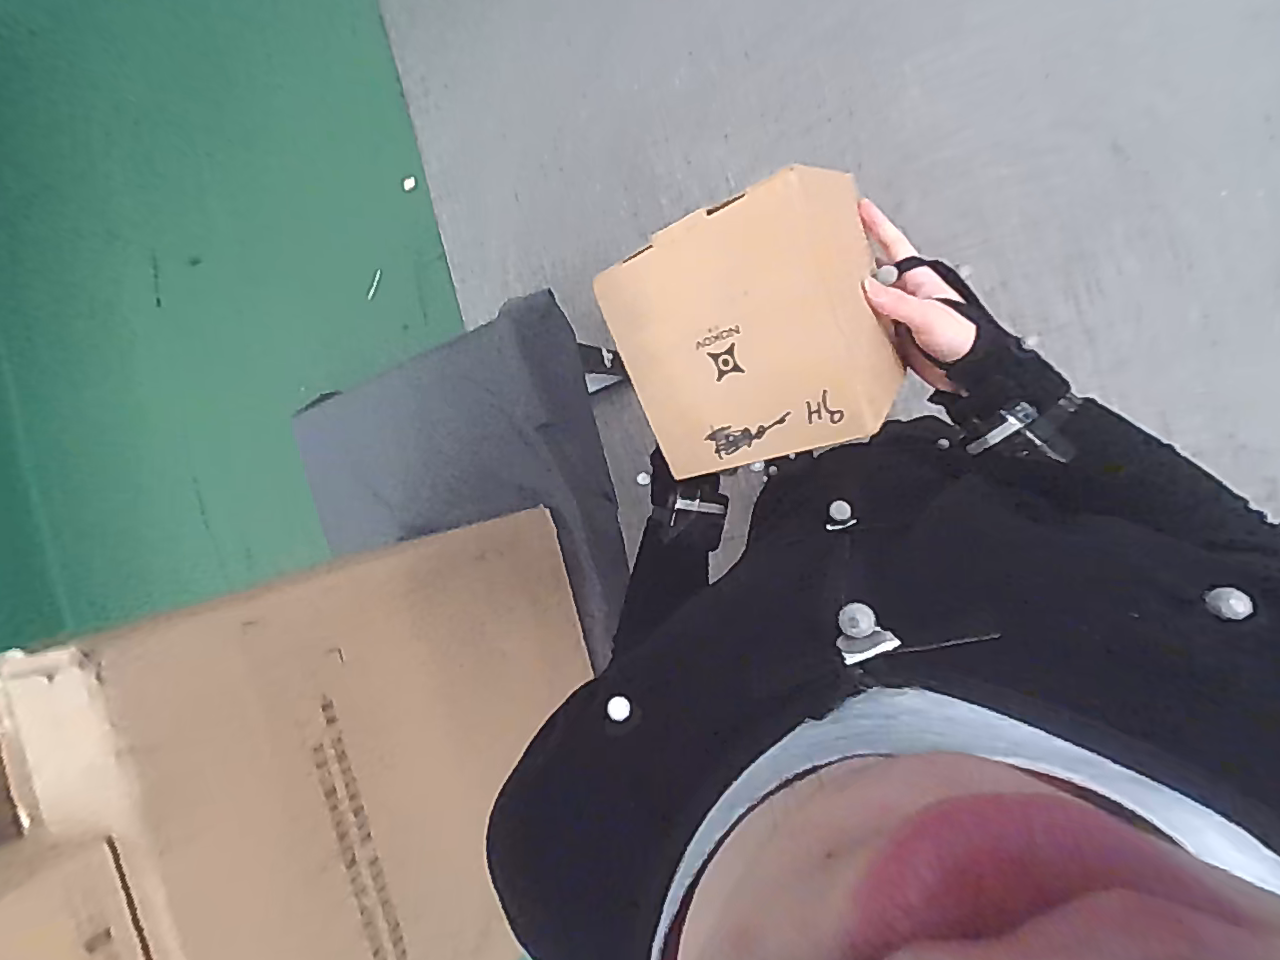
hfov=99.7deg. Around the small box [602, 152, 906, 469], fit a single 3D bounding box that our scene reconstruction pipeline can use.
[{"bbox_3d":[0.104,-0.132,0.444,0.168,0.176,0.179,-14,106,37],"label":"small box"}]
